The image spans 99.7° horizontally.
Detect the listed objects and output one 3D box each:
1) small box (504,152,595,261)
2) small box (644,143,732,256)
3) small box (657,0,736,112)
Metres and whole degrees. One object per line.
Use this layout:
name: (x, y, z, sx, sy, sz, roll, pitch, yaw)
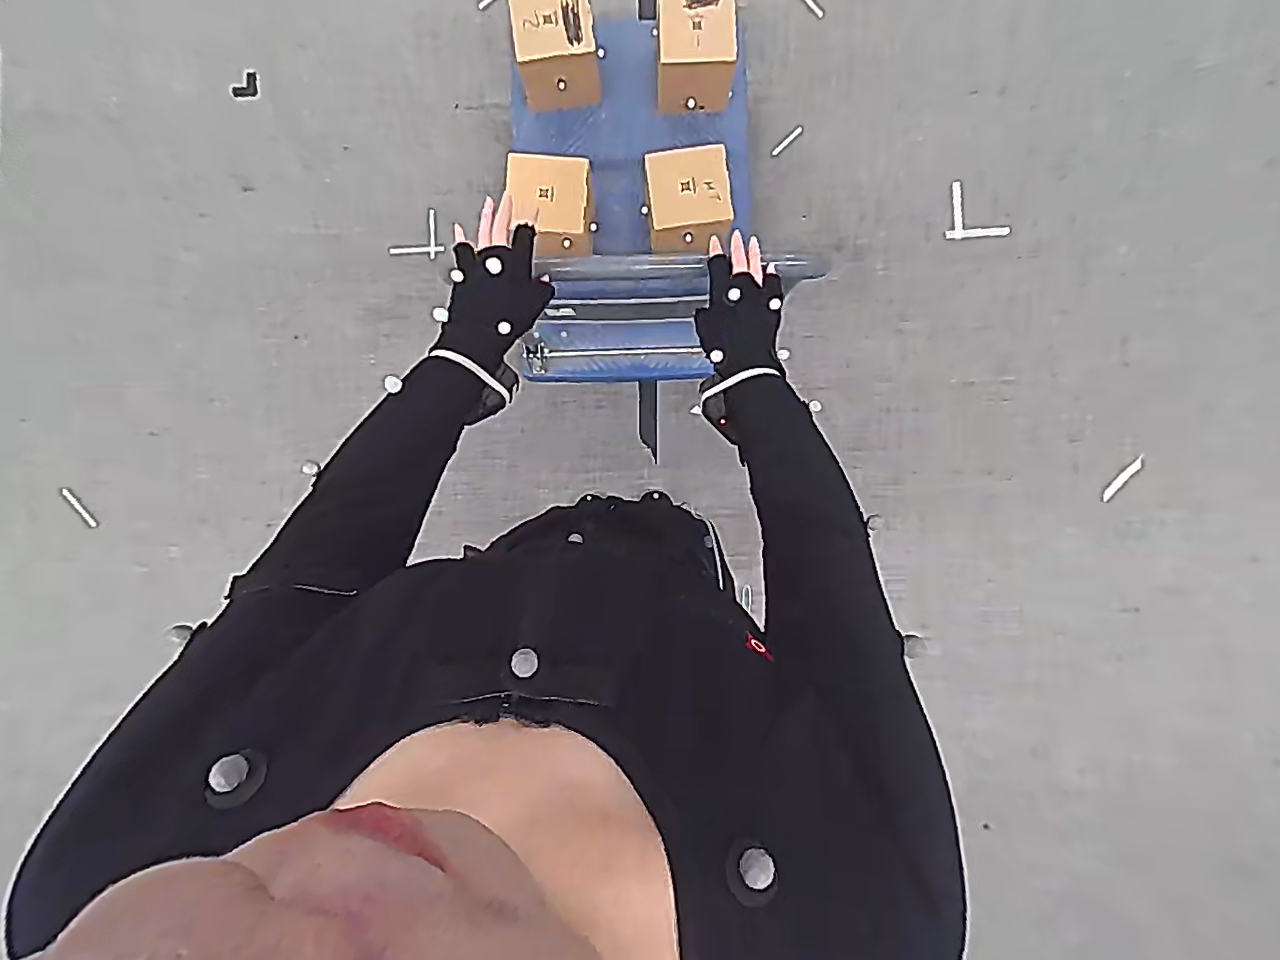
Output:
small box: (-0.201, -0.620, 1.244, 0.179, 0.176, 0.168, 4, 89, -1)
small box: (0.106, -0.632, 1.240, 0.179, 0.176, 0.168, -7, 90, 1)
small box: (0.124, -0.987, 1.240, 0.168, 0.176, 0.179, -1, 91, 1)
